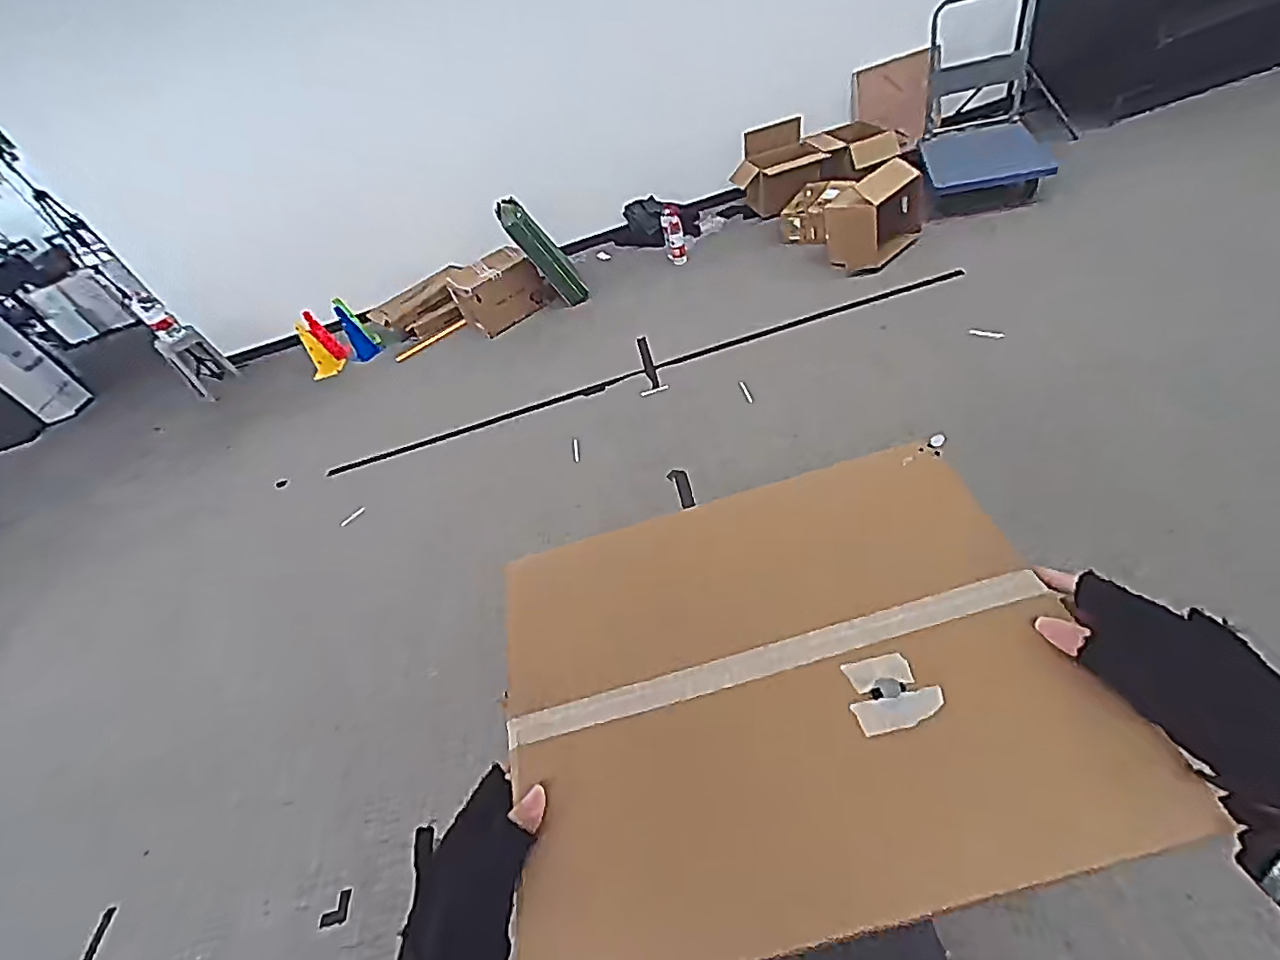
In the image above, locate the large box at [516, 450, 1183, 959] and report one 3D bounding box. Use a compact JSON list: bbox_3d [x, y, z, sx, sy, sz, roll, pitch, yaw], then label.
[{"bbox_3d":[0.130,0.232,0.527,0.408,0.320,0.320,-17,49,1],"label":"large box"}]
